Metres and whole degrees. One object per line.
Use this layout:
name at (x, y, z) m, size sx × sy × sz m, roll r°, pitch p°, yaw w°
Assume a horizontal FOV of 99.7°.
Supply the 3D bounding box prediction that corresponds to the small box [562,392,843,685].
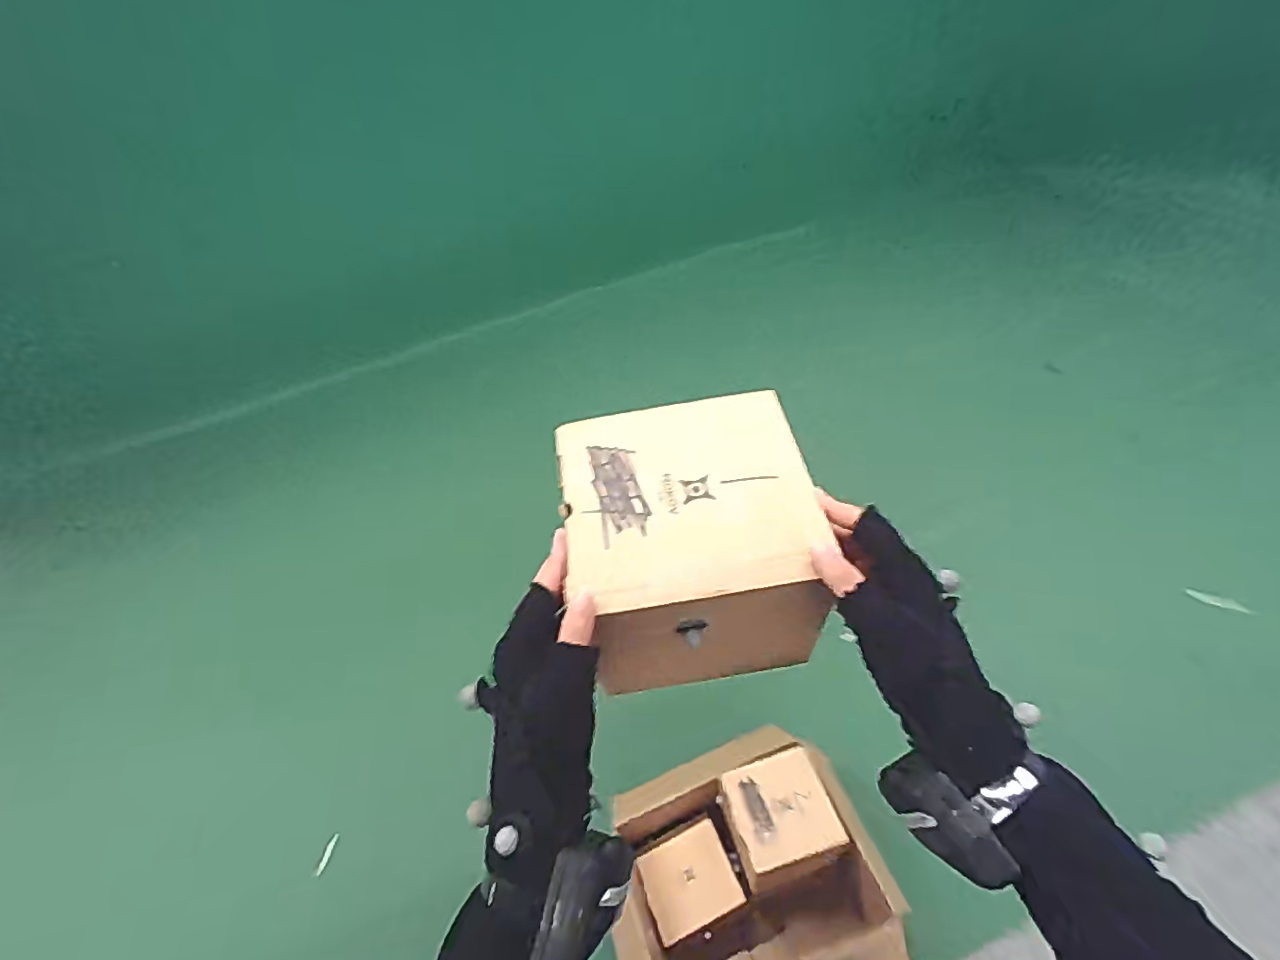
small box at (0.040, 0.055, 0.443) m, size 0.179 × 0.176 × 0.168 m, roll -8°, pitch 53°, yaw 0°
